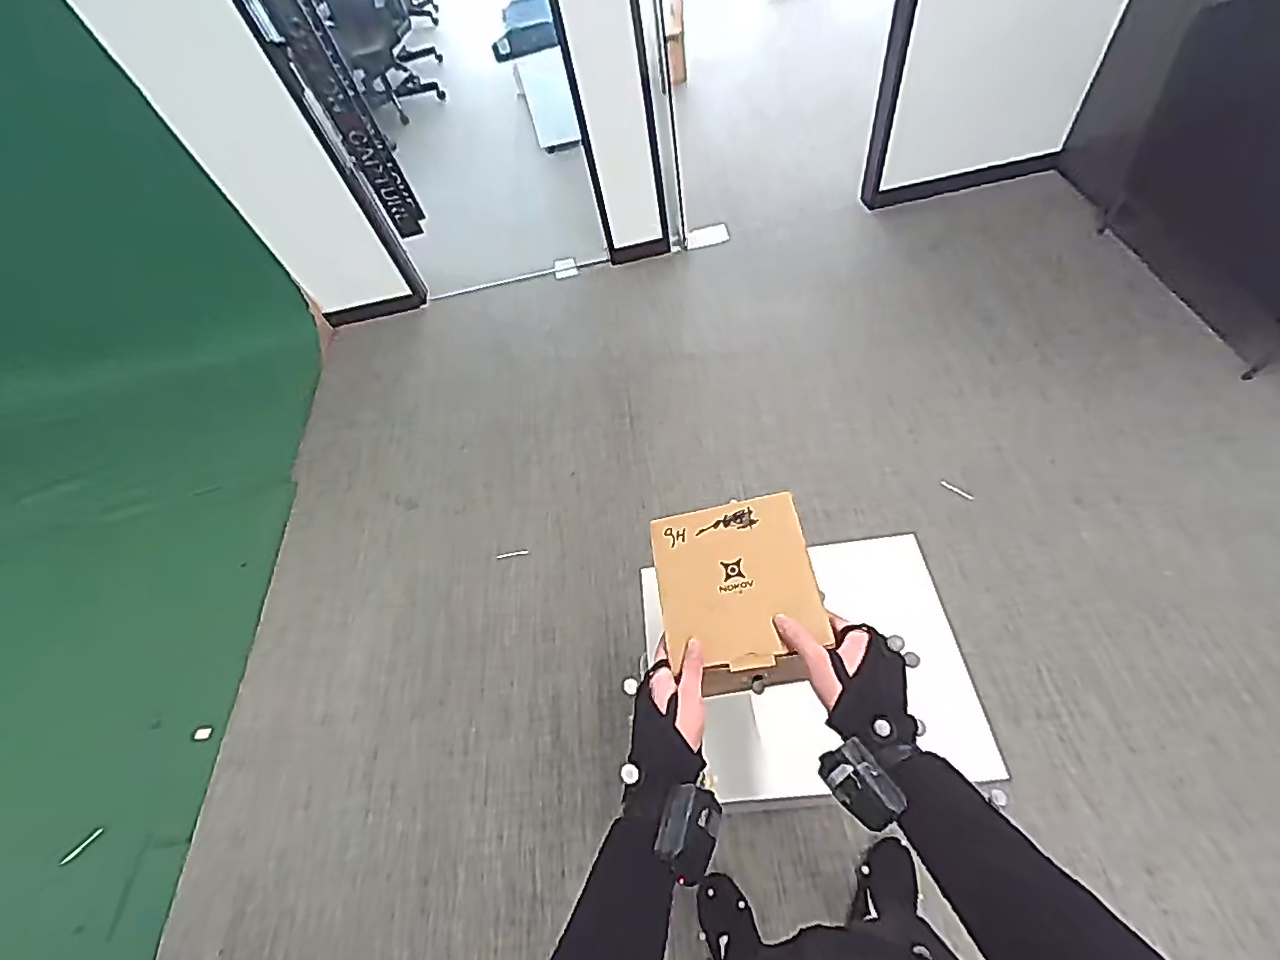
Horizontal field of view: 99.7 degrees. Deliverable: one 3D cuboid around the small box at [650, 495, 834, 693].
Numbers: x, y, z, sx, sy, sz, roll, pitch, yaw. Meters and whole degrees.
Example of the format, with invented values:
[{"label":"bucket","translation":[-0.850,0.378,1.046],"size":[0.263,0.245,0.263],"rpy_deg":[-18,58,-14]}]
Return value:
[{"label":"small box","translation":[0.121,0.147,0.646],"size":[0.168,0.176,0.179],"rpy_deg":[-15,58,7]}]
